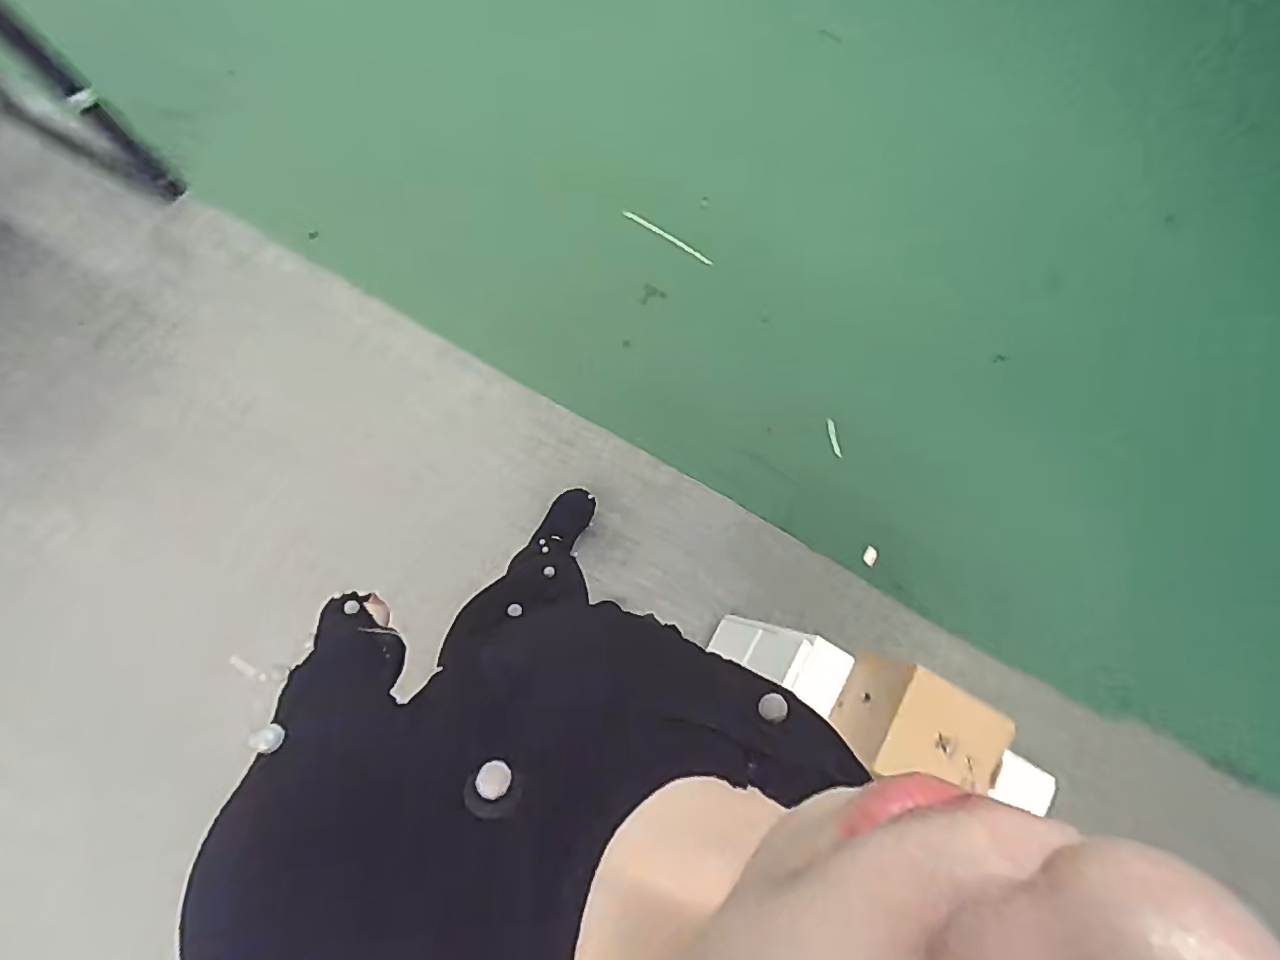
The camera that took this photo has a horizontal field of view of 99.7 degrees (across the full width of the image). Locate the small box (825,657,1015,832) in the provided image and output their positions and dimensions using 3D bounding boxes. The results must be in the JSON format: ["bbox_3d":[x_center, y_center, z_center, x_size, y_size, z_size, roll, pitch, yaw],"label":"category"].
[{"bbox_3d":[0.427,0.398,0.853,0.179,0.176,0.168,33,79,-1],"label":"small box"}]
